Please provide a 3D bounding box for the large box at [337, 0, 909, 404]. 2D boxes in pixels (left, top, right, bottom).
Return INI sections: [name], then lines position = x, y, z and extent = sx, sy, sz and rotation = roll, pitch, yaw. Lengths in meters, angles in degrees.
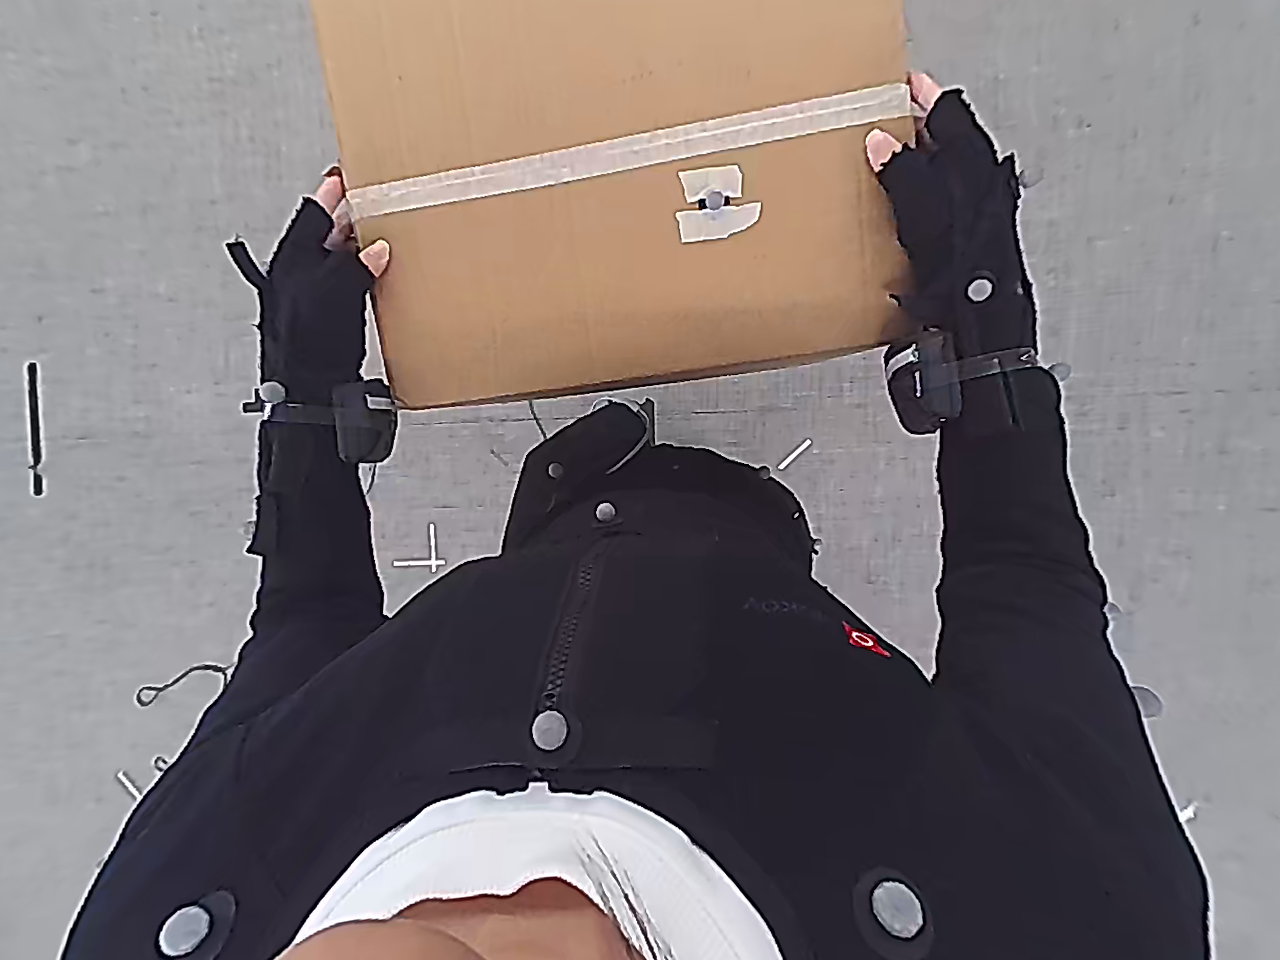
[large box]
position = -0.003, -0.261, 0.552
extent = 0.408, 0.320, 0.320
rotation = -7, 99, 6
